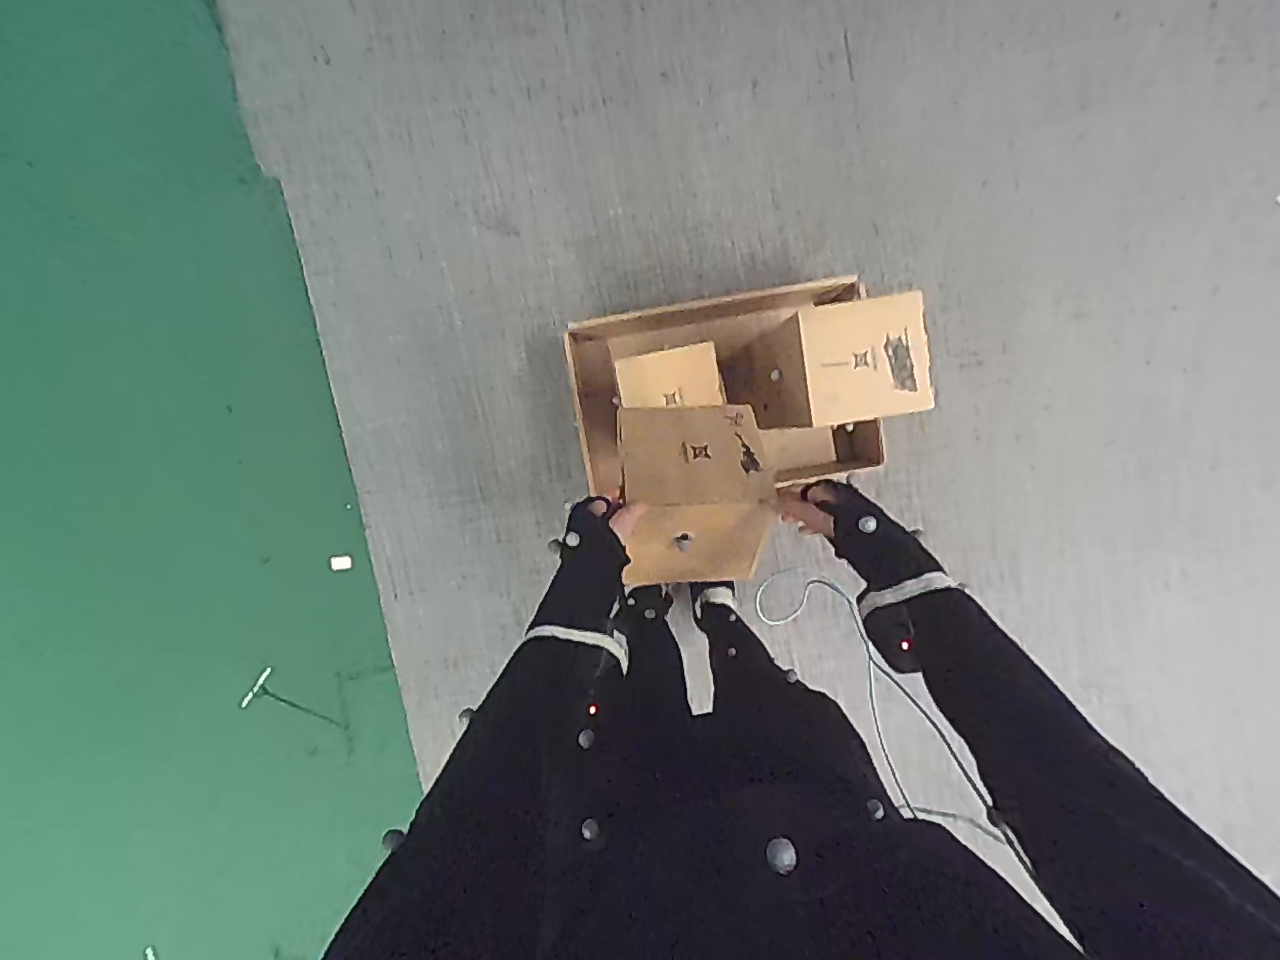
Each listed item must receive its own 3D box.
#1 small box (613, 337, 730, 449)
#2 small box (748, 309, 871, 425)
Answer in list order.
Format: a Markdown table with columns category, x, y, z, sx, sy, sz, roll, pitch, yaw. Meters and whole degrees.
| category | x | y | z | sx | sy | sz | roll | pitch | yaw |
| --- | --- | --- | --- | --- | --- | --- | --- | --- | --- |
| small box | 0.054 | -0.152 | 1.000 | 0.179 | 0.176 | 0.168 | -12 | 95 | -1 |
| small box | 0.304 | -0.199 | 0.996 | 0.168 | 0.176 | 0.179 | -9 | 94 | 0 |
